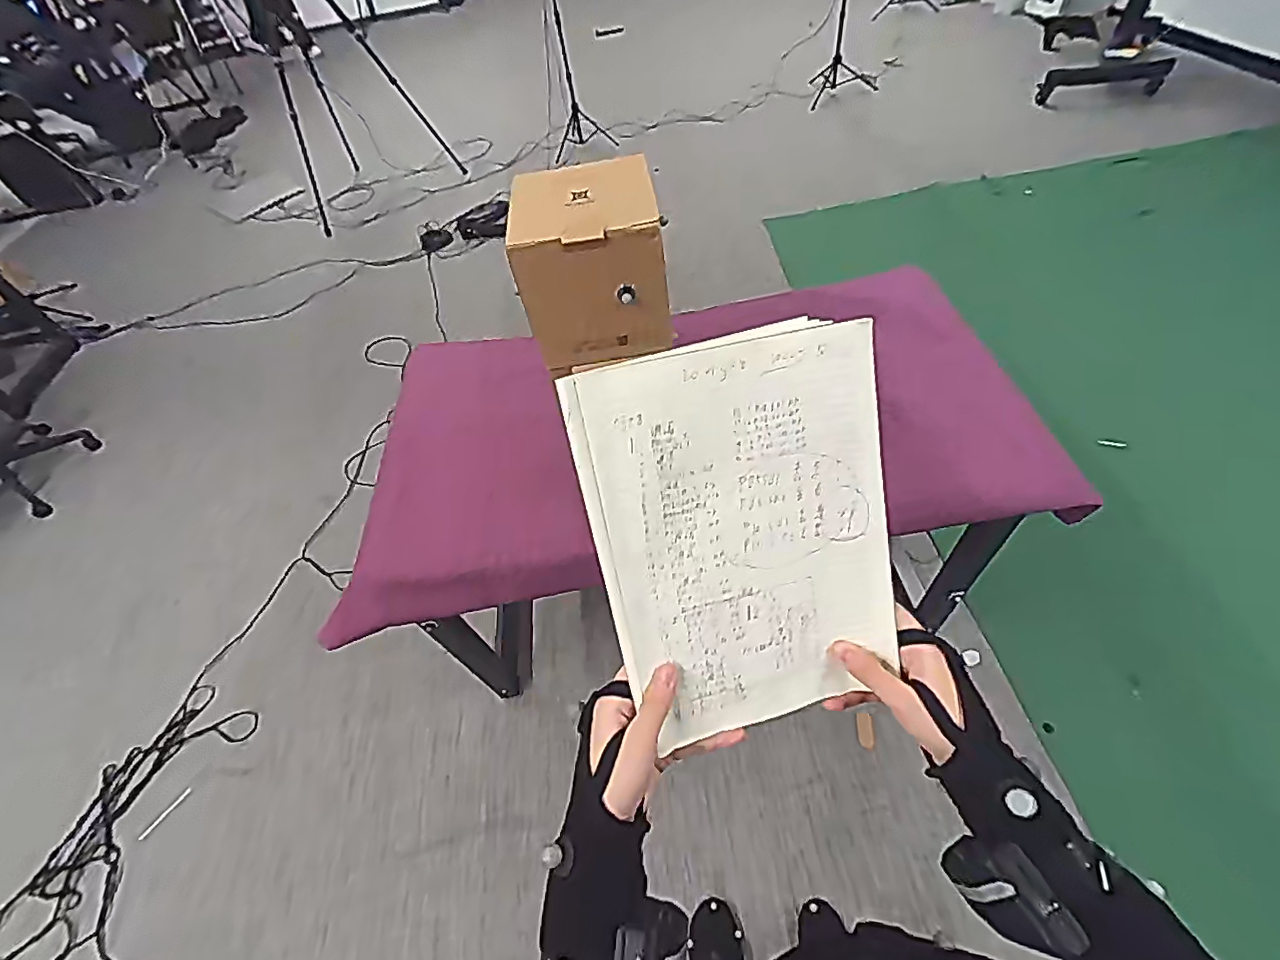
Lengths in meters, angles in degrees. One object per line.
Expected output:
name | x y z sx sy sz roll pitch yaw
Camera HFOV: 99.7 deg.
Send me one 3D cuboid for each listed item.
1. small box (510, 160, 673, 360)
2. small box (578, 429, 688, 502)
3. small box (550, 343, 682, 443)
small box | -0.053 -0.266 0.679 0.168 0.176 0.179 -7 51 3
small box | -0.011 -0.074 0.942 0.168 0.176 0.179 -8 52 2
small box | -0.032 -0.170 0.809 0.168 0.176 0.179 -9 51 3
